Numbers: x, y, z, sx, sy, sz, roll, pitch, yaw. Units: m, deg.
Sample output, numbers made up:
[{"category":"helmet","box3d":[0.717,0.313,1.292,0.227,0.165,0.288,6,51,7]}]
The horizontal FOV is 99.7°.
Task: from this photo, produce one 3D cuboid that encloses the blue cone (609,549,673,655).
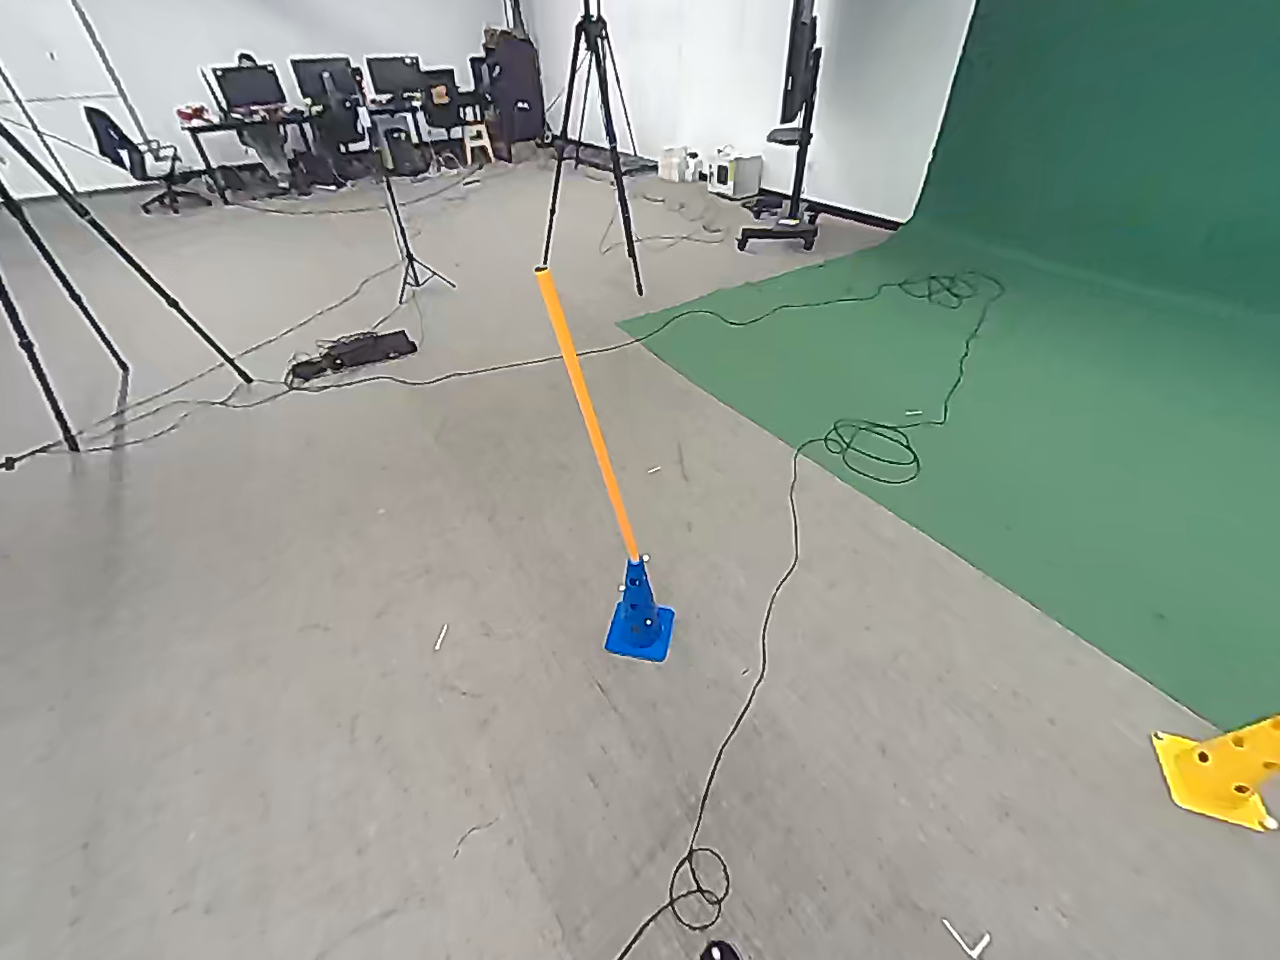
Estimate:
[{"category":"blue cone","box3d":[-0.006,0.350,1.626,0.193,0.380,0.192,5,42,11]}]
